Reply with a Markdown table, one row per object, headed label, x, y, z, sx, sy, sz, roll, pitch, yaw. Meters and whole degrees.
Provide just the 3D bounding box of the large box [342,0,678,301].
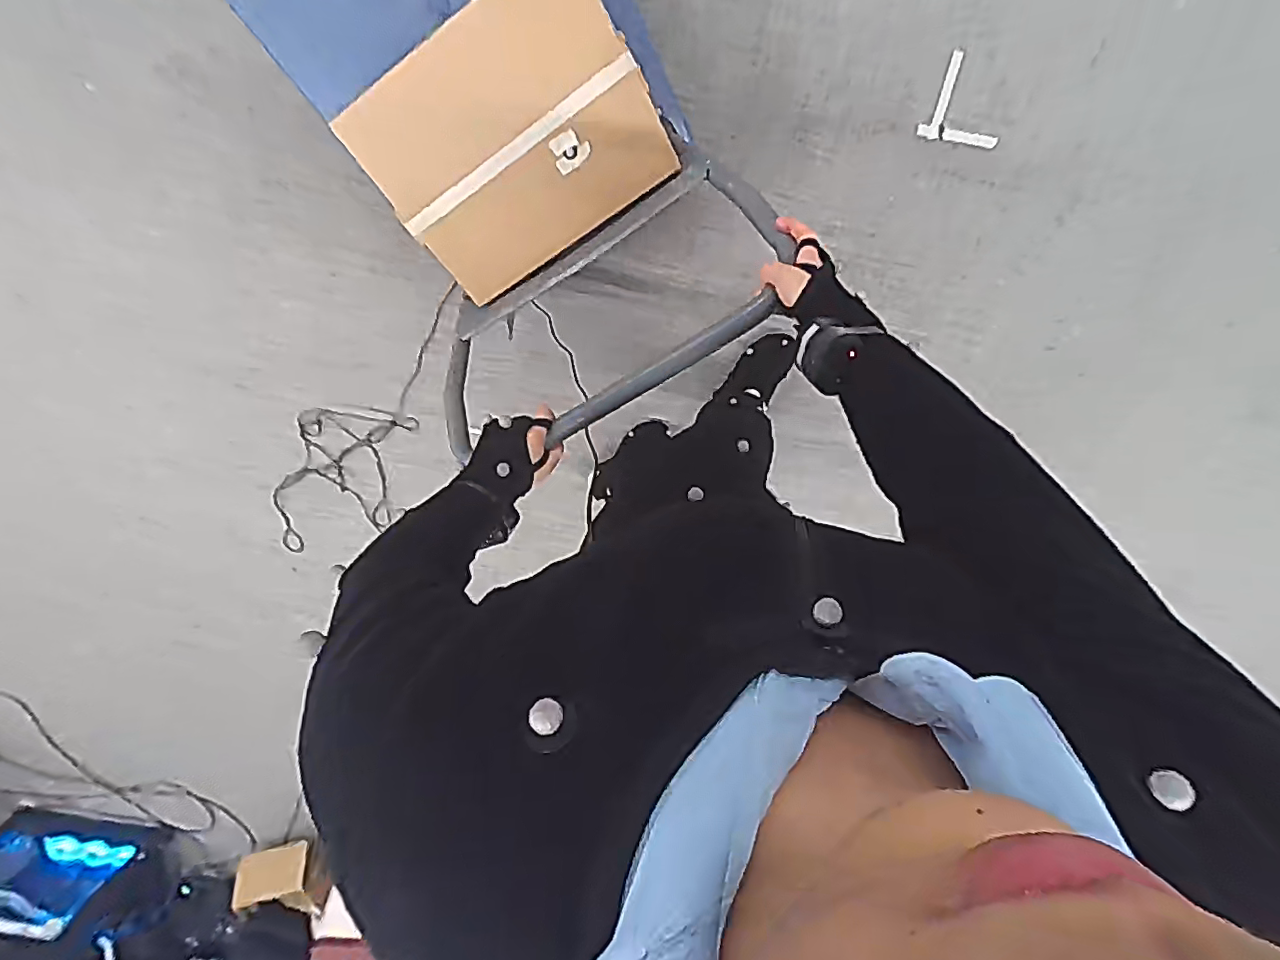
| label | x | y | z | sx | sy | sz | roll | pitch | yaw |
| --- | --- | --- | --- | --- | --- | --- | --- | --- | --- |
| large box | -0.205 | -0.589 | 0.920 | 0.408 | 0.320 | 0.320 | -31 | 127 | 12 |
